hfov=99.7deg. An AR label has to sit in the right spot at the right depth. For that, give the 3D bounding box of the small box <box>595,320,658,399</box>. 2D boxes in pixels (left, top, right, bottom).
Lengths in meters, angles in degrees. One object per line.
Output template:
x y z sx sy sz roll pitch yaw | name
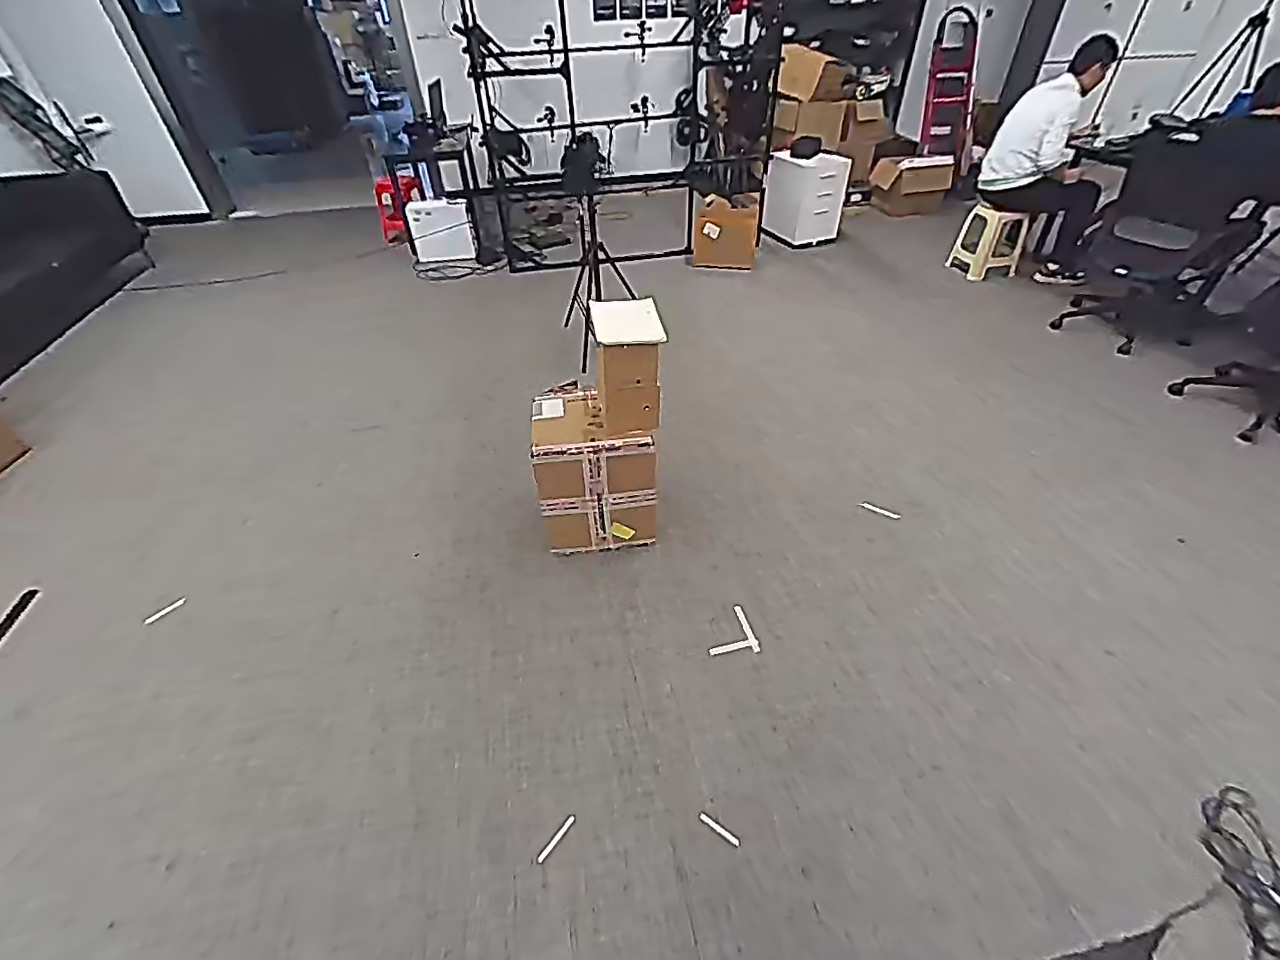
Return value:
-0.045 -0.366 1.639 0.168 0.176 0.179 -7 42 -9 | small box

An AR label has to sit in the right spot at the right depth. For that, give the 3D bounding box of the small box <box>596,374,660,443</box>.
-0.041 -0.239 1.742 0.179 0.176 0.168 -10 43 -10 | small box
